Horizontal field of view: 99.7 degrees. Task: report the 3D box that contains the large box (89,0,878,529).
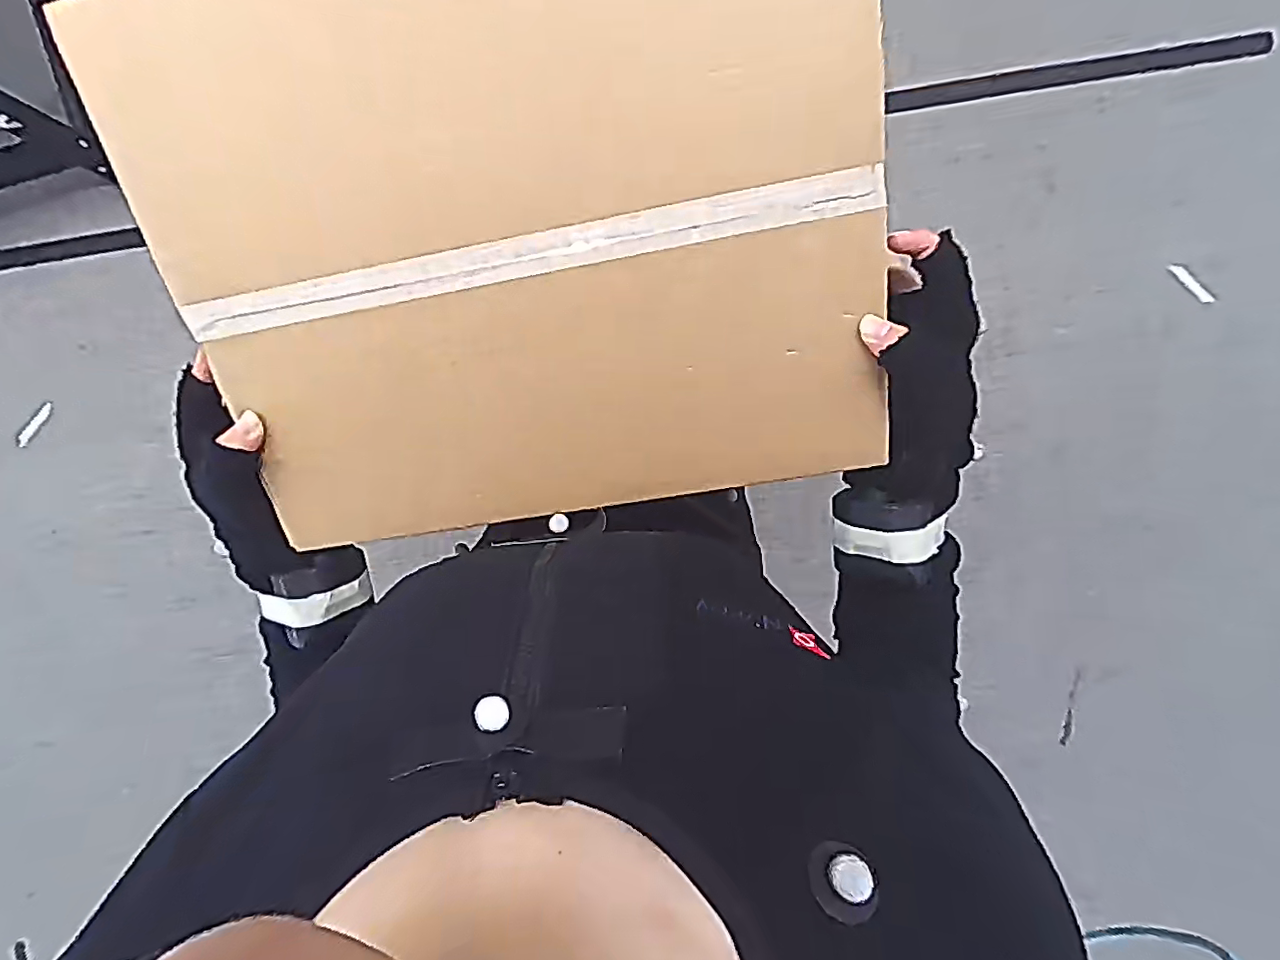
[{"bbox_3d":[-0.066,-0.189,0.452,0.408,0.320,0.320,-9,112,5],"label":"large box"}]
